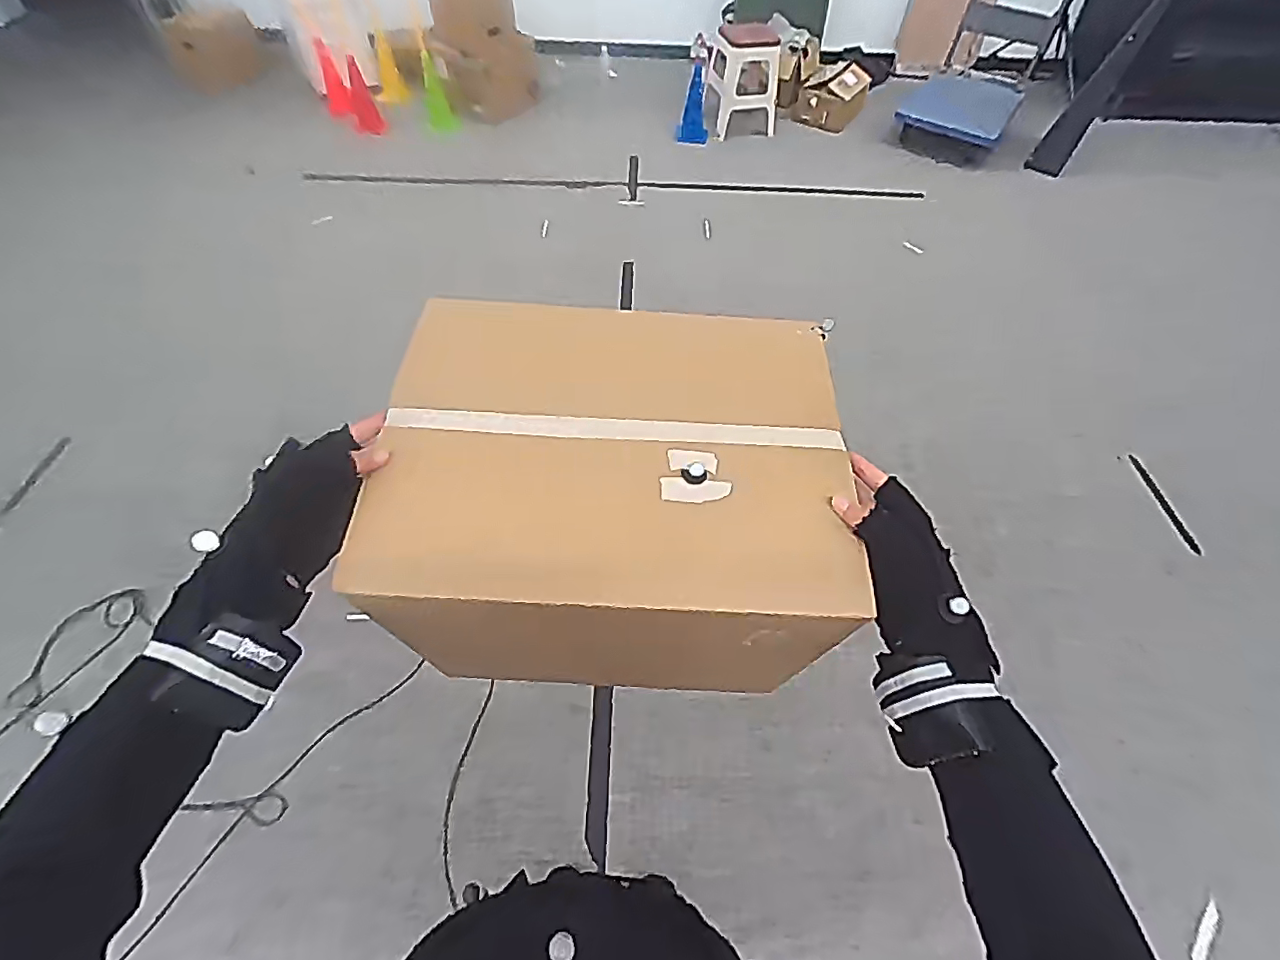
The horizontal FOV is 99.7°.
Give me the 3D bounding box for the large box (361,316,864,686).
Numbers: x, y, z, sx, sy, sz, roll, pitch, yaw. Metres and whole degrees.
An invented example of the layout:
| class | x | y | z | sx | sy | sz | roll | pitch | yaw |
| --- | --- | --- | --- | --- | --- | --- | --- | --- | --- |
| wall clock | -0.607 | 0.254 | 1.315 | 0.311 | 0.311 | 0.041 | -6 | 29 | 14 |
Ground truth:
| class | x | y | z | sx | sy | sz | roll | pitch | yaw |
| --- | --- | --- | --- | --- | --- | --- | --- | --- | --- |
| large box | -0.024 | 0.043 | 0.623 | 0.408 | 0.320 | 0.320 | 3 | 59 | -2 |
